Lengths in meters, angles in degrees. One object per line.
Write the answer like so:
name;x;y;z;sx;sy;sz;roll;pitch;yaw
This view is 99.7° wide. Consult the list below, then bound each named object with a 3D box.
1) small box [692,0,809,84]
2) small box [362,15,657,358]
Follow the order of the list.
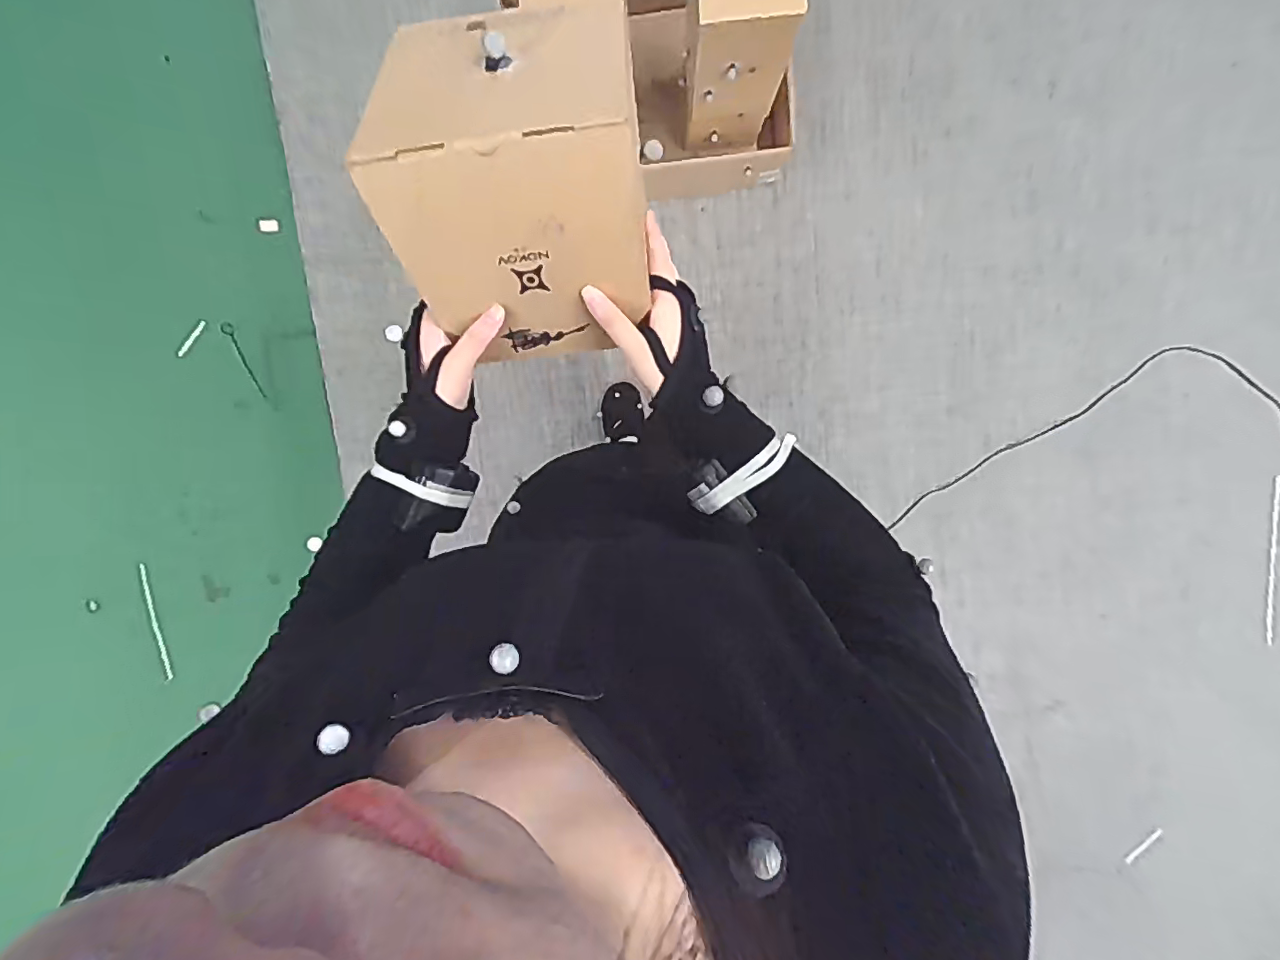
small box;0.174;-0.797;0.888;0.168;0.176;0.179;-2;100;3
small box;-0.077;-0.222;0.420;0.168;0.179;0.176;-3;59;5
